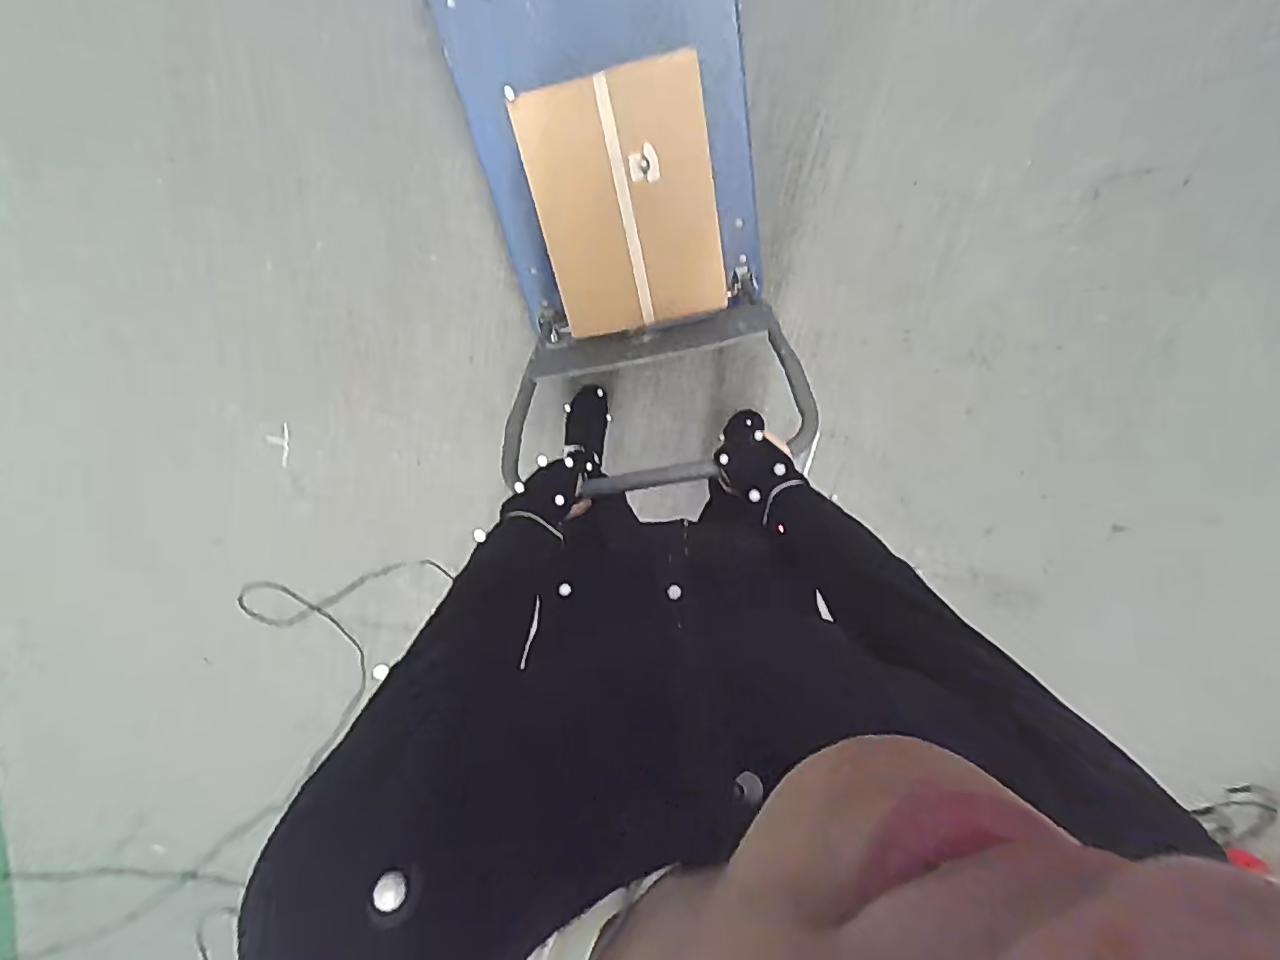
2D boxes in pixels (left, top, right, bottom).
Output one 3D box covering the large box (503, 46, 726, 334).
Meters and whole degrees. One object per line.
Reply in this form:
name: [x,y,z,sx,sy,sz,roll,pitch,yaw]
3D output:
large box: [-0.025,-0.557,1.077,0.320,0.320,0.408,-11,122,7]
